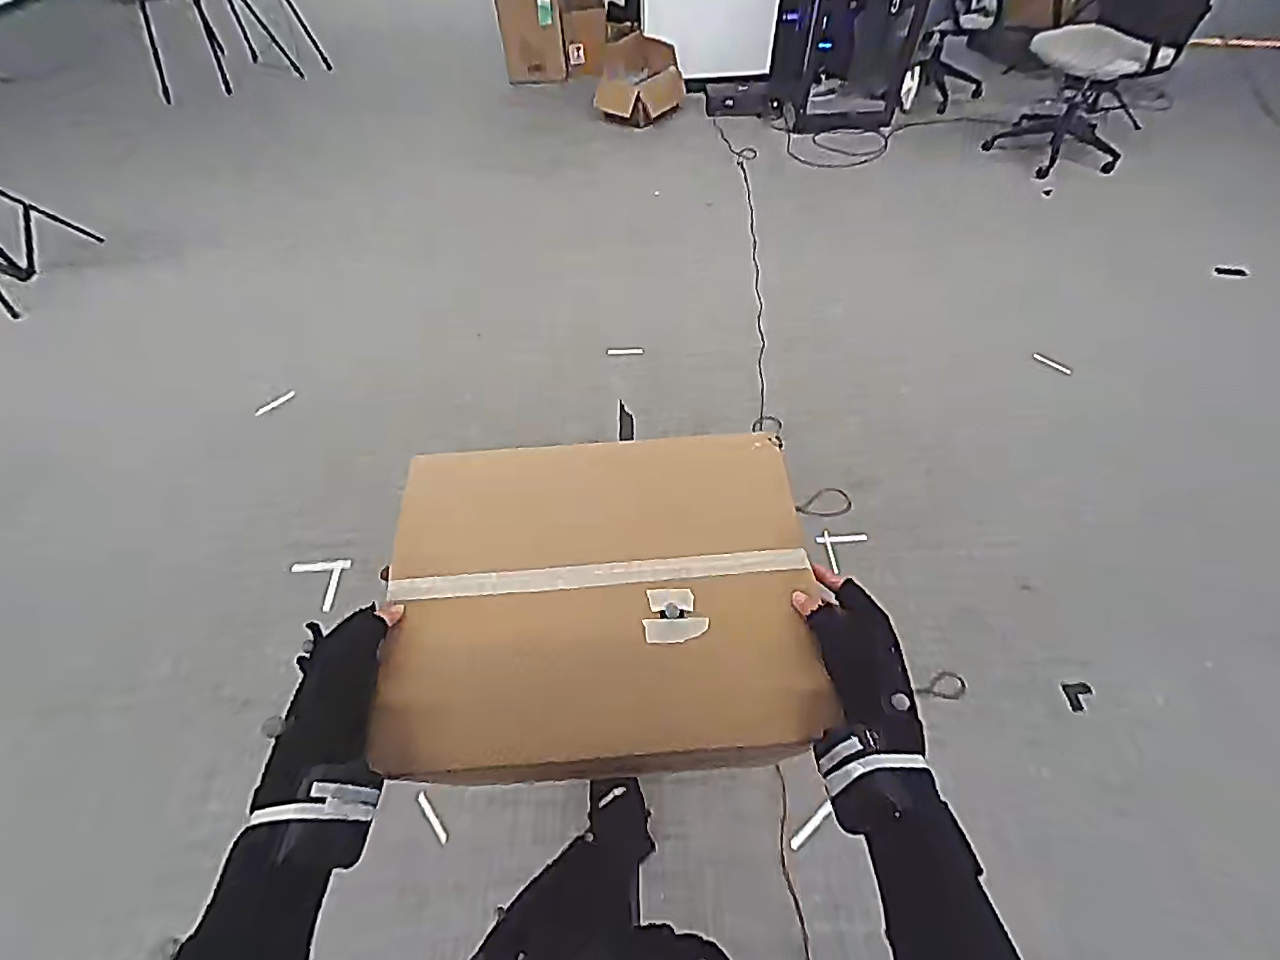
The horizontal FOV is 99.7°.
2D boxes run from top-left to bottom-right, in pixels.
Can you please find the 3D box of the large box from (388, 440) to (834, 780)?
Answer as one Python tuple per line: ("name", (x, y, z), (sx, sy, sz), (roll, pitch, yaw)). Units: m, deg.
("large box", (-0.034, 0.175, 0.675), (0.408, 0.320, 0.320), (-4, 60, -2))
